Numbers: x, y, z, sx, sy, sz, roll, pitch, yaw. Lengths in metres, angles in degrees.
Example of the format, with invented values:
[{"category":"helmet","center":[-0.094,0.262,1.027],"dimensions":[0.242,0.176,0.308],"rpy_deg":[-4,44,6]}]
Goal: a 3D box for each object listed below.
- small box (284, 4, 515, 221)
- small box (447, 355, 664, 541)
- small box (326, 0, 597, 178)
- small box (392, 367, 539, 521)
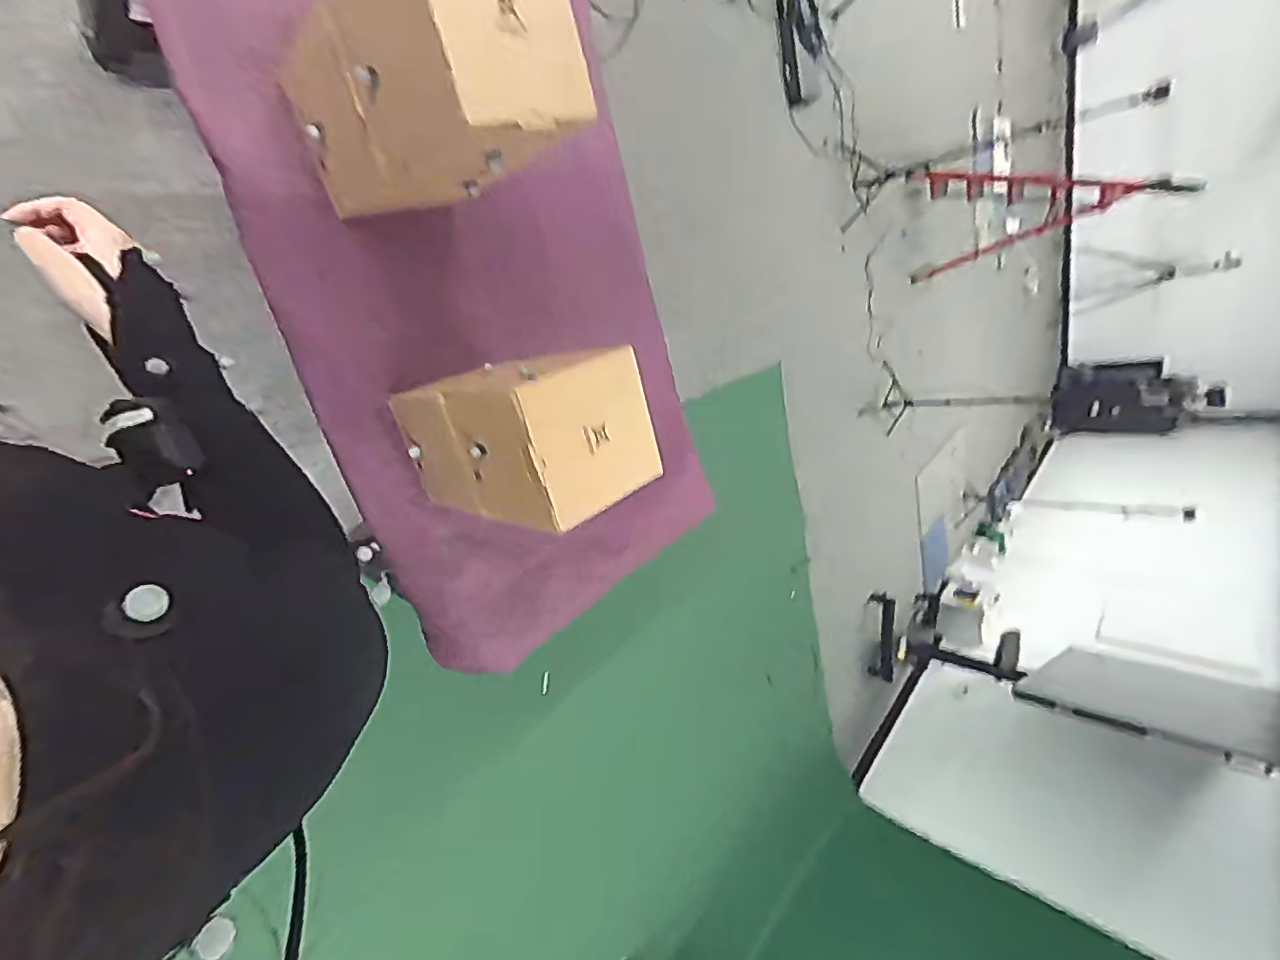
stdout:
[{"category":"small box","center":[-0.290,-0.432,0.660],"dimensions":[0.179,0.176,0.168],"rpy_deg":[-33,116,-38]},{"category":"small box","center":[-0.102,-0.048,0.663],"dimensions":[0.179,0.176,0.168],"rpy_deg":[-31,115,-38]},{"category":"small box","center":[-0.176,-0.420,0.543],"dimensions":[0.168,0.176,0.179],"rpy_deg":[-34,118,-39]},{"category":"small box","center":[-0.219,-0.060,0.775],"dimensions":[0.179,0.176,0.168],"rpy_deg":[-30,115,-38]}]
